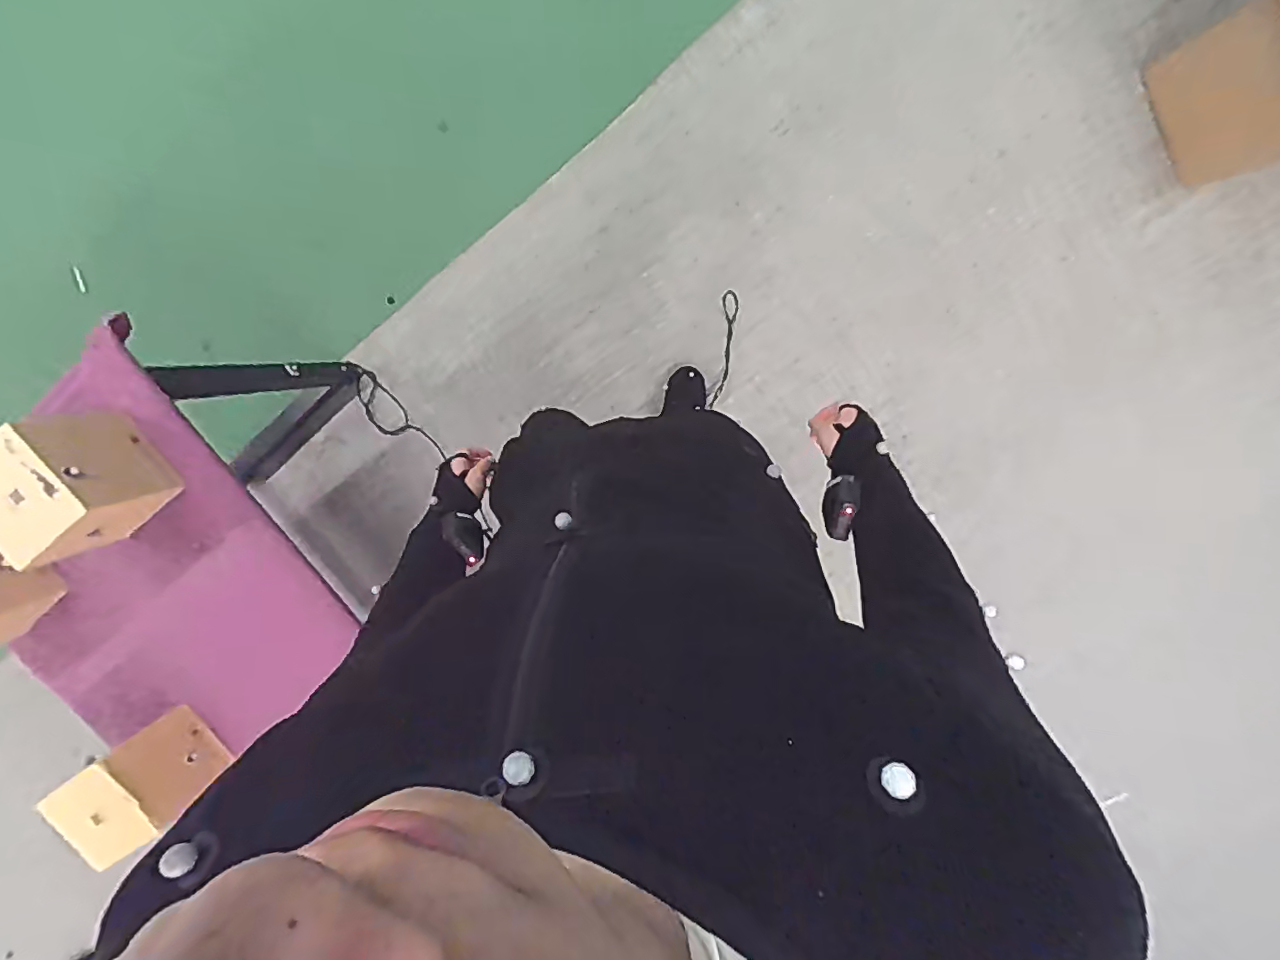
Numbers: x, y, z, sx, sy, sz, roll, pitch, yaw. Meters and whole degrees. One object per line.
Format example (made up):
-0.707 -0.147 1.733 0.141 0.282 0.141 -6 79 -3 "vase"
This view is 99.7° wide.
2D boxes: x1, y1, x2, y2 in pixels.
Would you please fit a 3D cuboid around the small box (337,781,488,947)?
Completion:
-0.415 0.718 1.027 0.179 0.176 0.168 -35 96 16 "small box"

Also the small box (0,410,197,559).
-0.922 0.000 0.919 0.179 0.176 0.168 -34 98 13 "small box"

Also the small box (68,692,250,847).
-0.927 0.557 1.059 0.179 0.176 0.168 -34 97 12 "small box"

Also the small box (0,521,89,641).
-1.204 0.199 1.003 0.179 0.176 0.168 -37 99 13 "small box"
